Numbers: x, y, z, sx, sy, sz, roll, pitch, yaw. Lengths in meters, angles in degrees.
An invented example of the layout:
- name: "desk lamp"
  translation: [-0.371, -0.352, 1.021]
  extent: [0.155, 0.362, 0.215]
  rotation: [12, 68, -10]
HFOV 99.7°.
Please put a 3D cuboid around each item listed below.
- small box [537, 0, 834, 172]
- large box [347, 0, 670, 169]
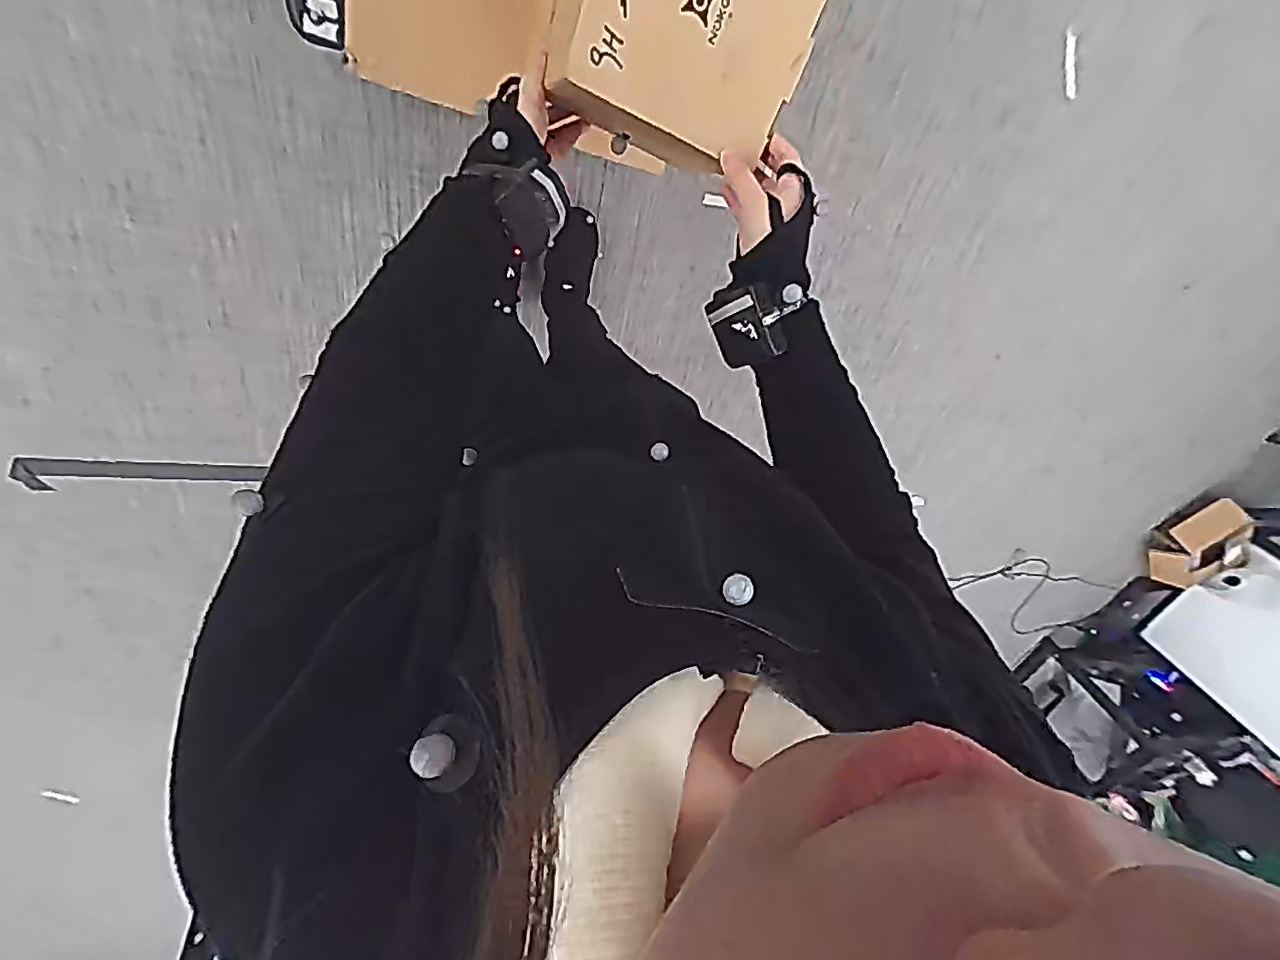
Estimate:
- name: "small box"
  translation: [0.030, -0.383, 0.447]
  extent: [0.179, 0.176, 0.168]
  rotation: [12, 115, -27]
- name: "large box"
  translation: [-0.139, -0.660, 0.721]
  extent: [0.408, 0.320, 0.320]
  rotation: [6, 124, -21]
